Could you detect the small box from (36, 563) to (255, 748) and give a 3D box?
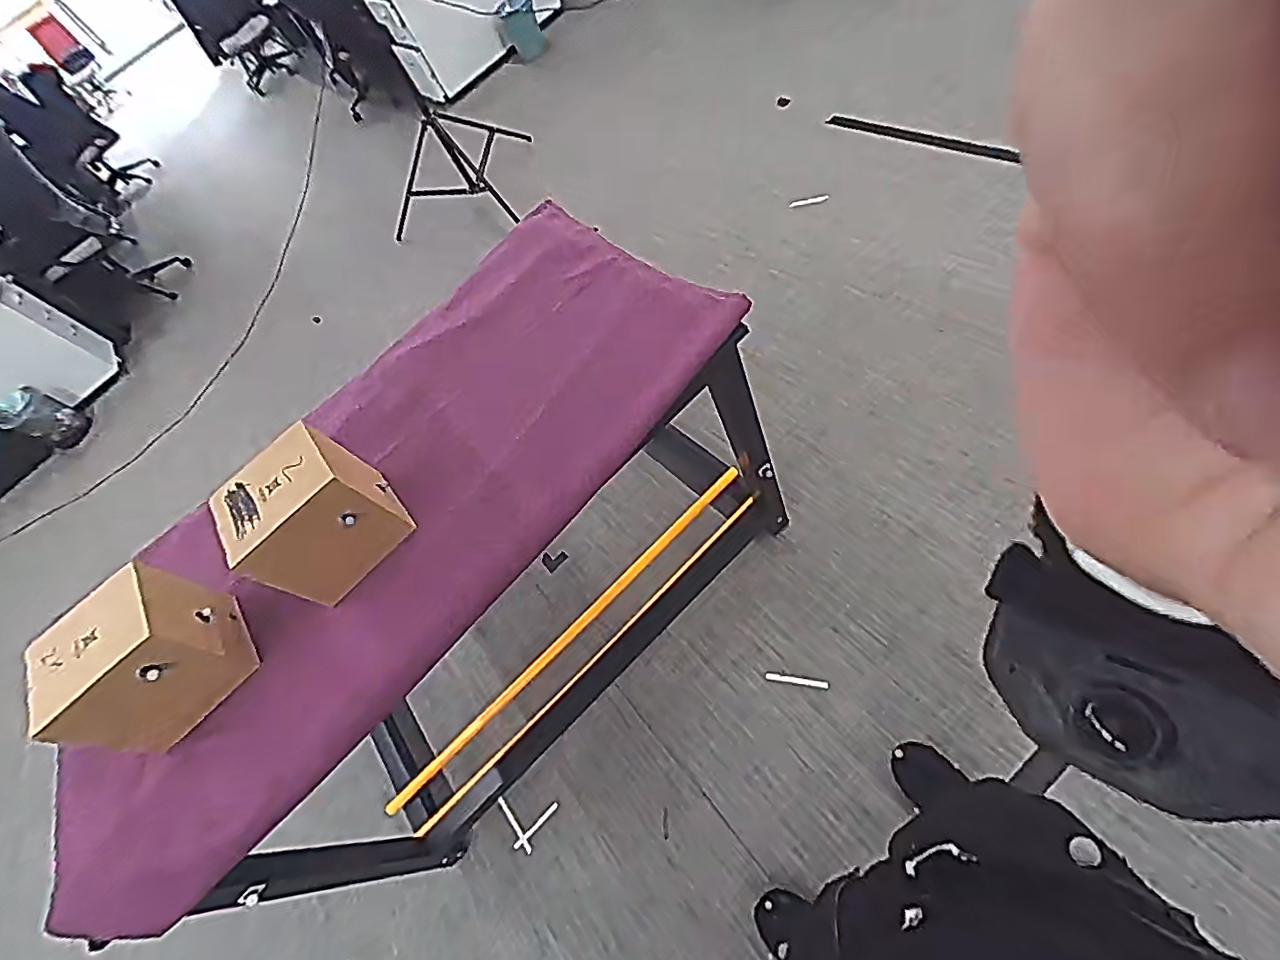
[{"bbox_3d":[-0.706,0.259,0.789,0.179,0.176,0.168,-45,55,-10],"label":"small box"}]
